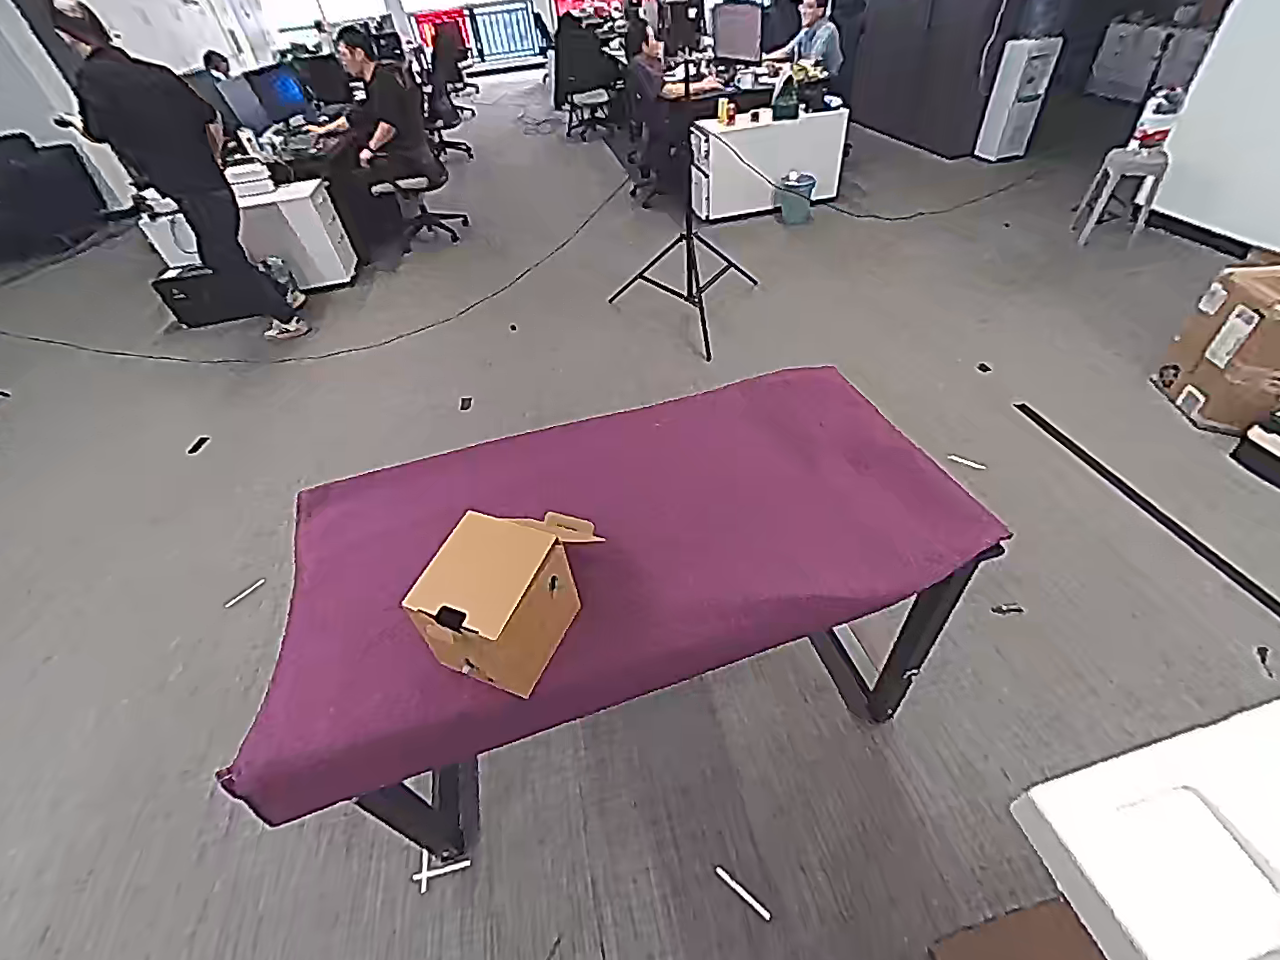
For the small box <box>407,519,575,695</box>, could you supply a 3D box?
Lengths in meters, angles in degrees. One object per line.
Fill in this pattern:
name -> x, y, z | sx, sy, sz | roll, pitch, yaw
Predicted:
small box -> -0.214, 0.193, 0.835 | 0.168, 0.176, 0.179 | 13, 46, 22
